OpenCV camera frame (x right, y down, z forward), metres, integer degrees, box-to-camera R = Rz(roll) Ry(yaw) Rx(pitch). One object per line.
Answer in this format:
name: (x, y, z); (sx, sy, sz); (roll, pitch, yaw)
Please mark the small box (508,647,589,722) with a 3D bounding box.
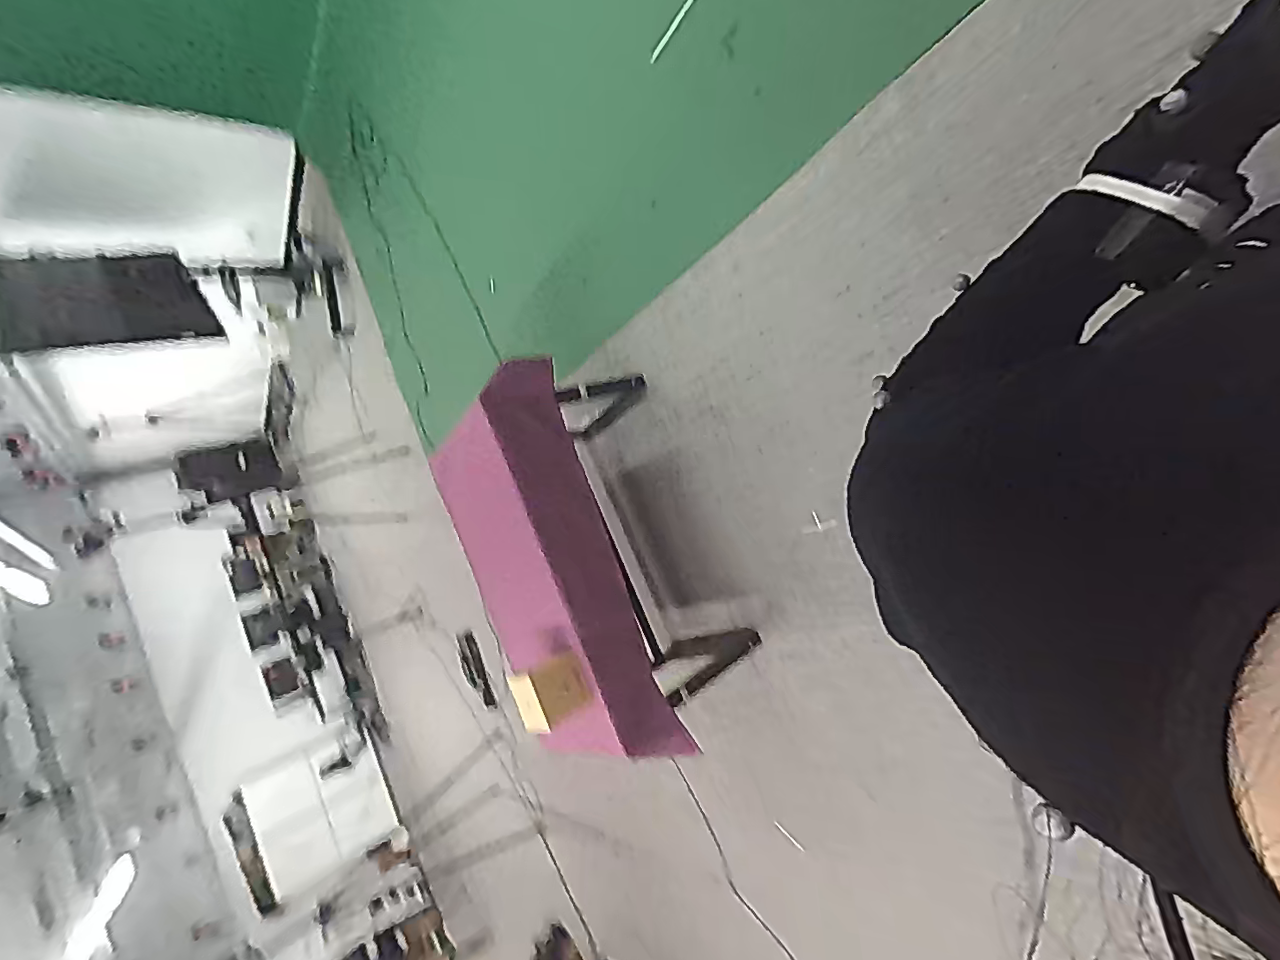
small box: (-0.280, 0.636, 1.690); (0.179, 0.176, 0.168); (-30, 80, 50)
